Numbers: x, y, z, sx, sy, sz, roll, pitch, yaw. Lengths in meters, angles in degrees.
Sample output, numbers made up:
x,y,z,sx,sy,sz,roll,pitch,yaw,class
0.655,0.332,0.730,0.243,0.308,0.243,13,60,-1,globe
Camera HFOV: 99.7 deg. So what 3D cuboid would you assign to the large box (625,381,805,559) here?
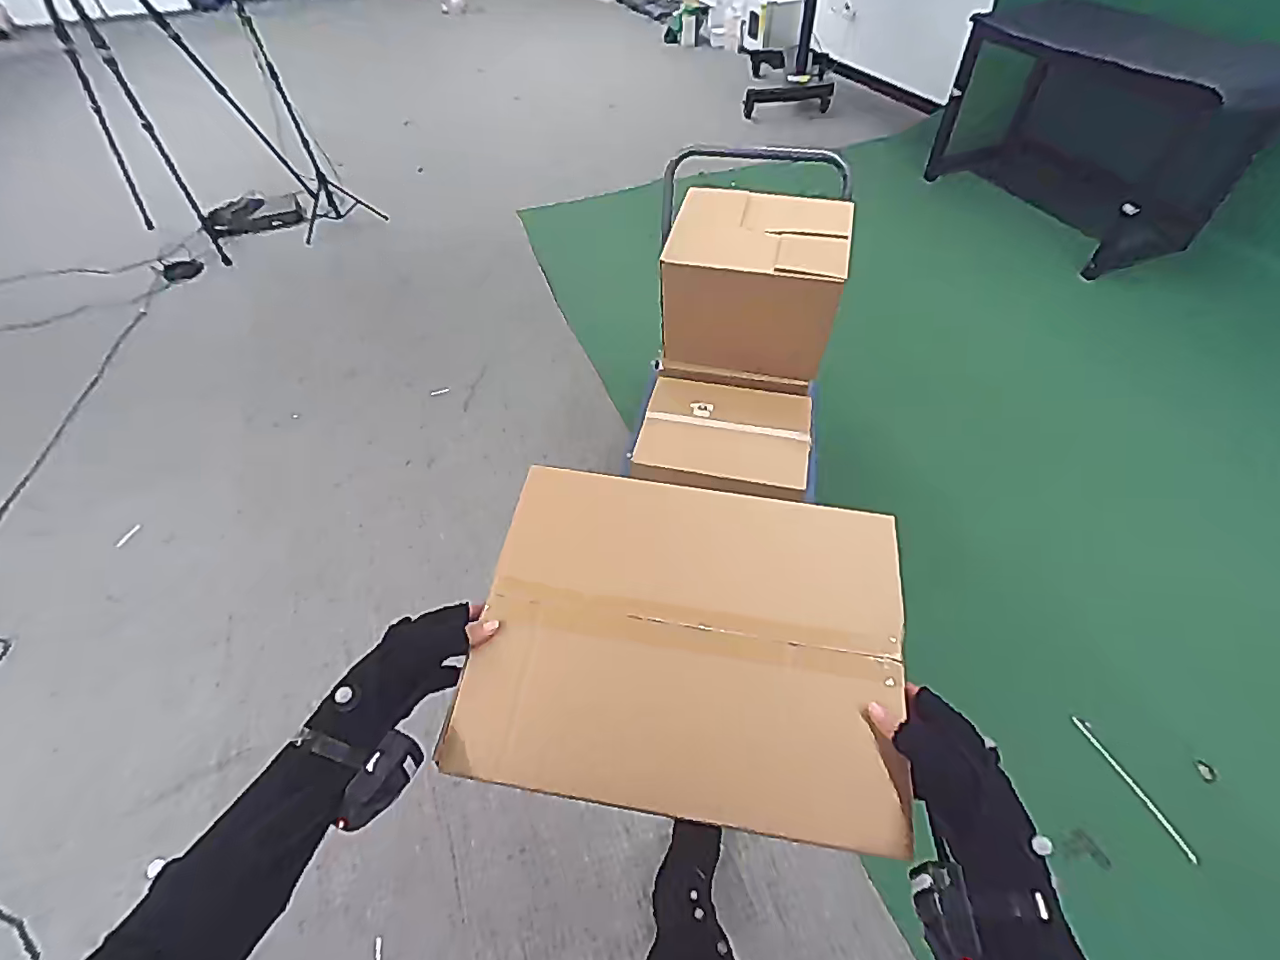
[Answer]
x,y,z,sx,sy,sz,roll,pitch,yaw,class
0.200,-0.024,1.427,0.408,0.320,0.320,9,52,11,large box
